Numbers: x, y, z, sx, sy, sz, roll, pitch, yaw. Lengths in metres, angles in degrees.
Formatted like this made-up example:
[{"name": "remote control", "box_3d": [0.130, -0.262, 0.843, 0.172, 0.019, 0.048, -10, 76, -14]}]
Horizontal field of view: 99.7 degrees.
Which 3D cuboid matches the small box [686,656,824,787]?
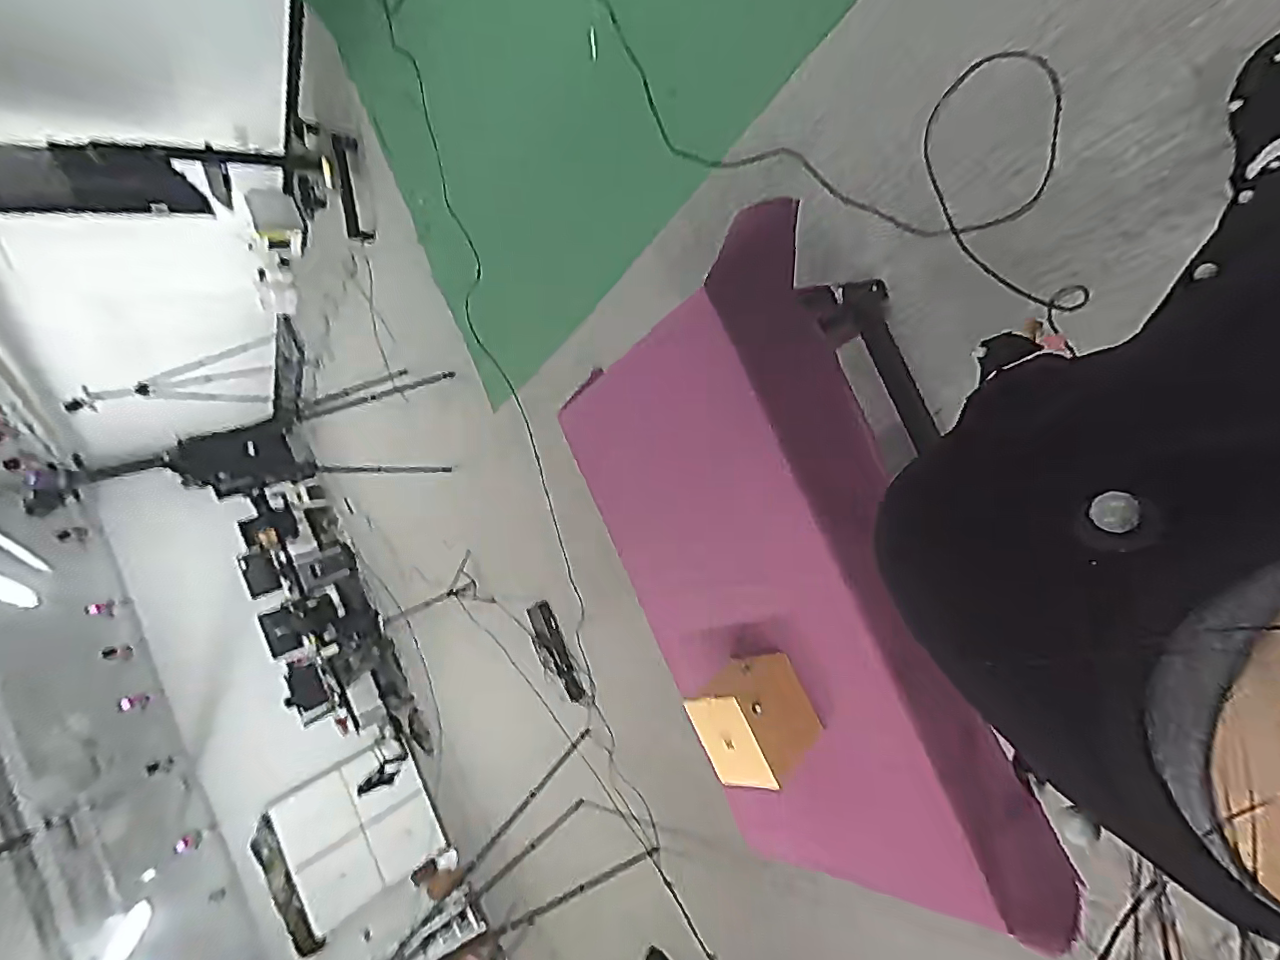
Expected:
[{"name": "small box", "box_3d": [0.232, 0.477, 1.082, 0.168, 0.176, 0.179, -36, 77, 50]}]
